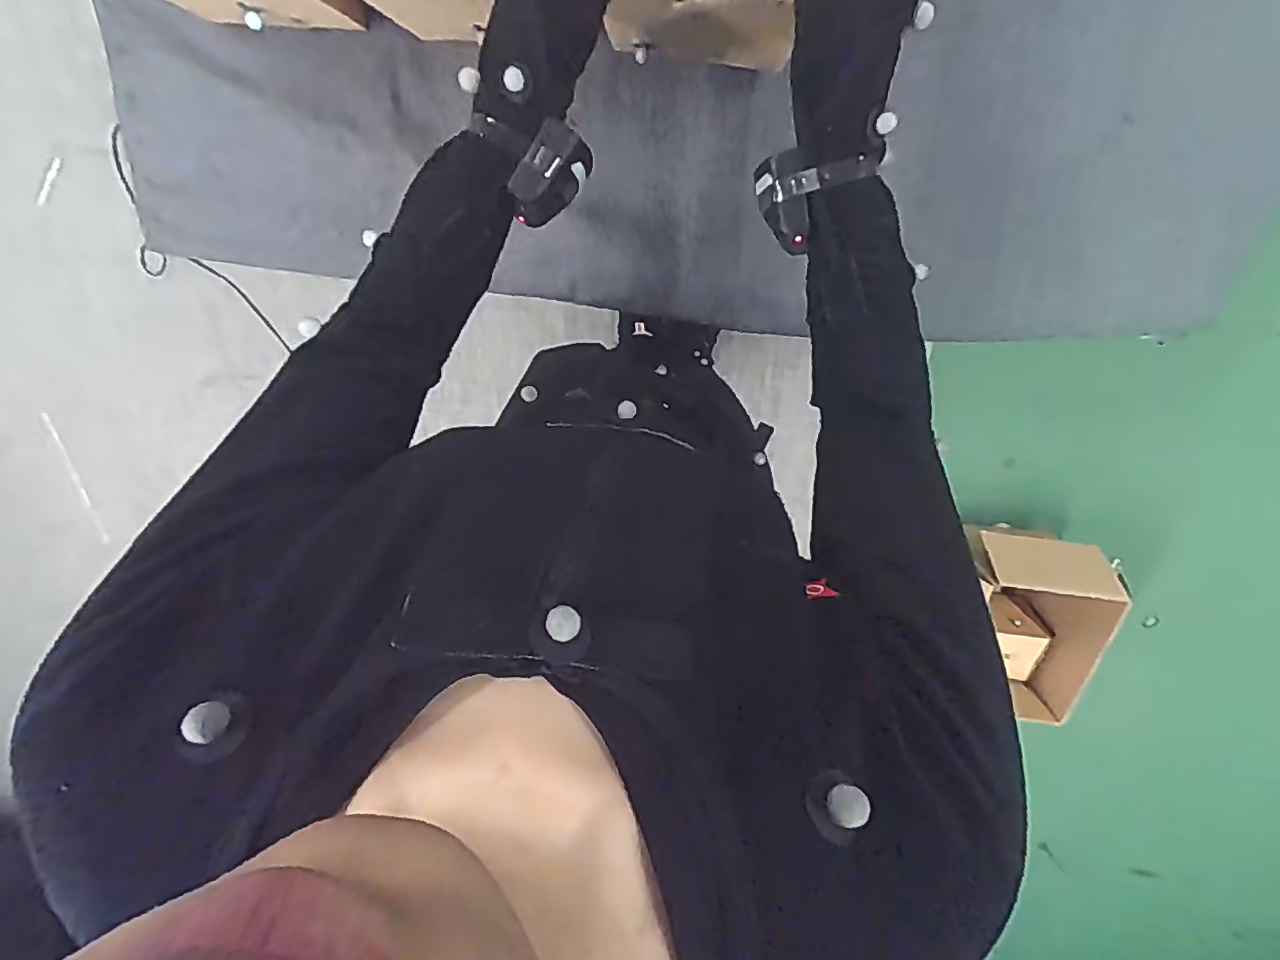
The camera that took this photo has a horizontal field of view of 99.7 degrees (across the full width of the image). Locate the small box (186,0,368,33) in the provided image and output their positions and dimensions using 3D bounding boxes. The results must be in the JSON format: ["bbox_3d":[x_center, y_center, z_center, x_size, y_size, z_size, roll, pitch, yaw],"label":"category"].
[{"bbox_3d":[-0.355,-0.511,0.447,0.168,0.176,0.179,6,115,3],"label":"small box"}]

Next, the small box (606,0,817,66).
[{"bbox_3d":[0.063,-0.451,0.413,0.168,0.176,0.179,8,113,1],"label":"small box"}]
